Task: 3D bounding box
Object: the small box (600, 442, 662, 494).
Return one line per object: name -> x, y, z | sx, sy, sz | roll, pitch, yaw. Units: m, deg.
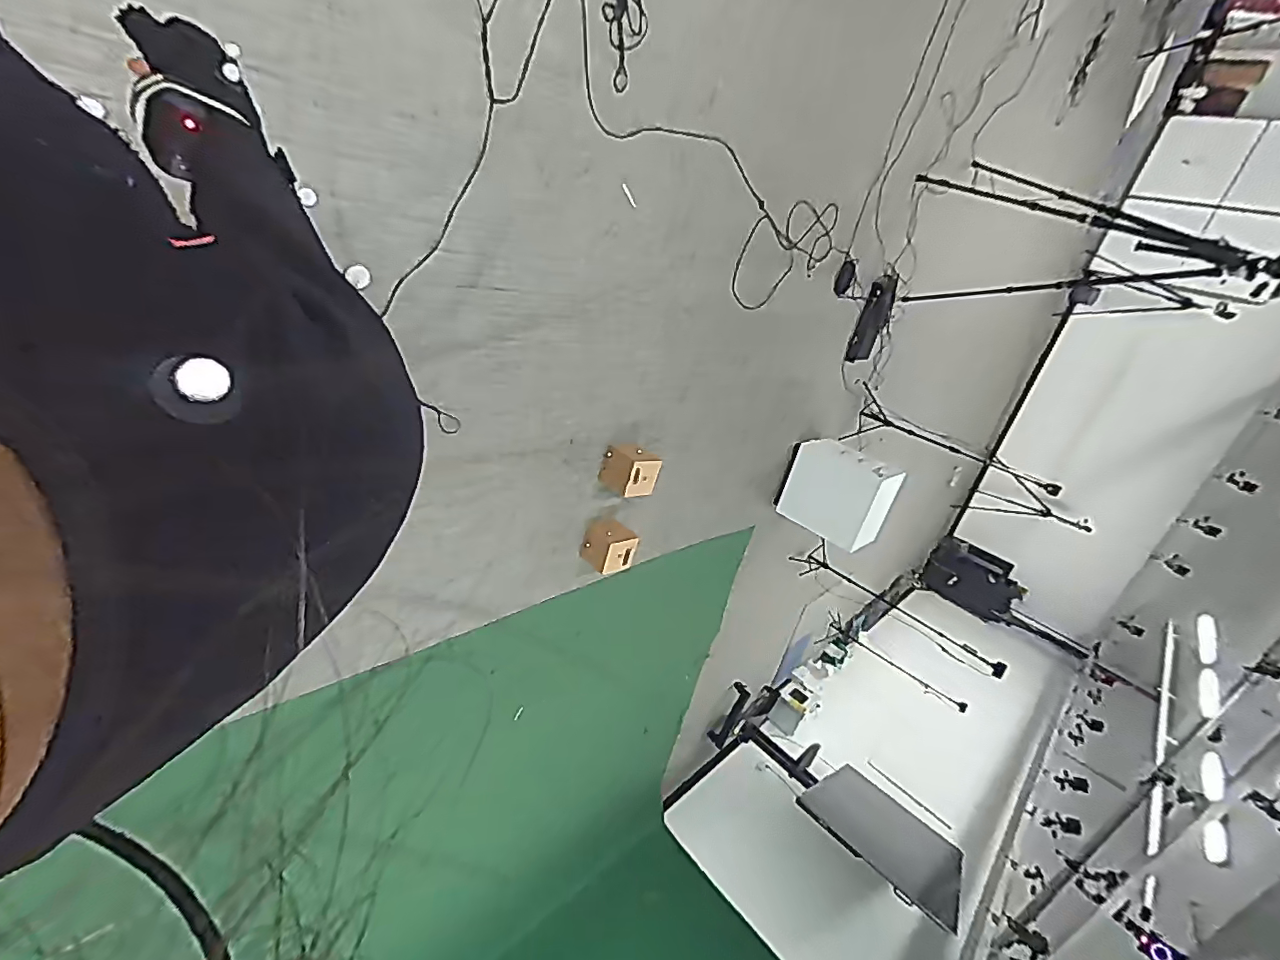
small box -> -0.041, -0.053, 2.288 | 0.179, 0.176, 0.168 | -5, 121, -48
